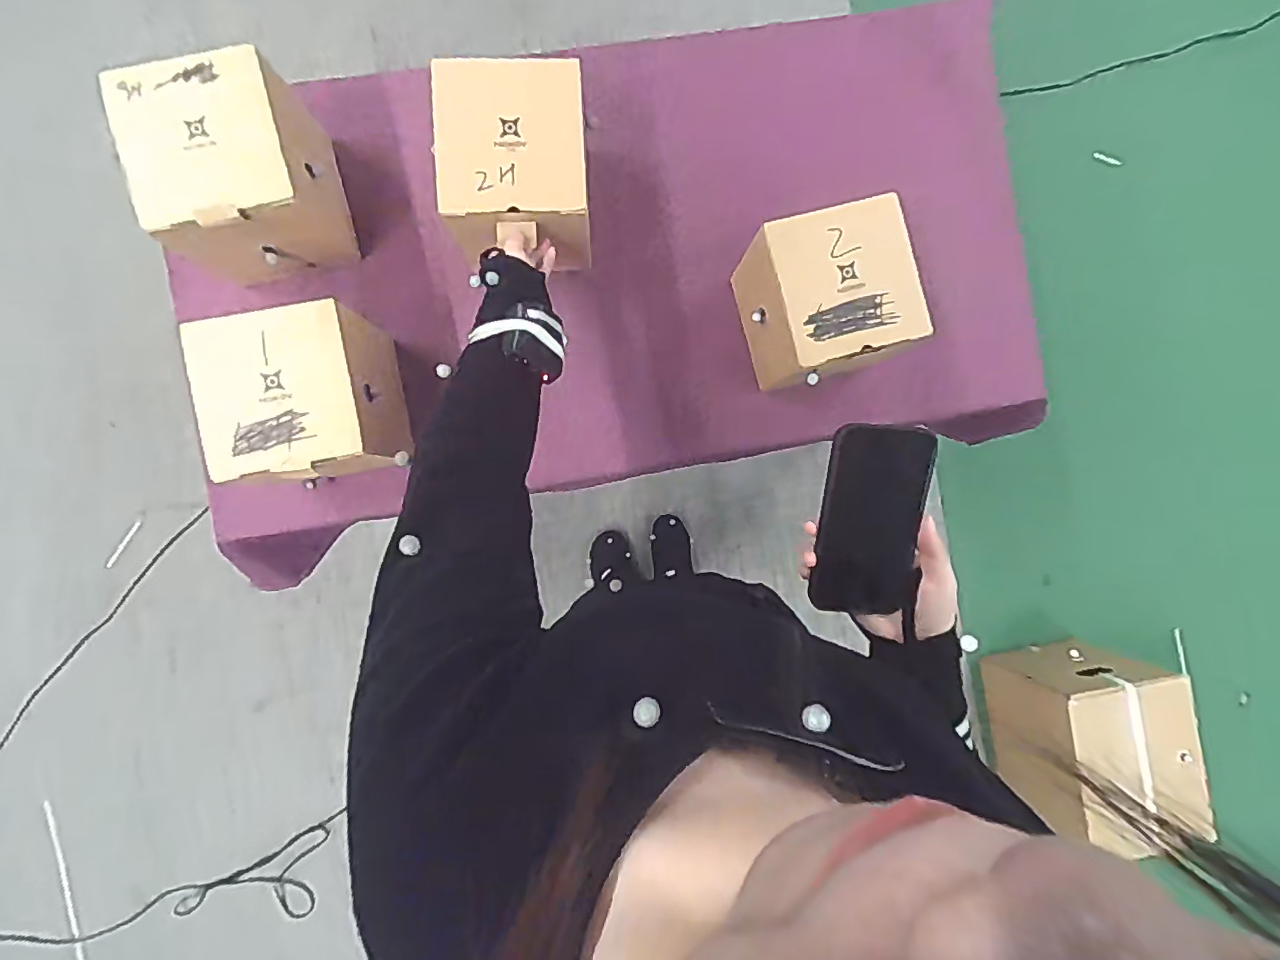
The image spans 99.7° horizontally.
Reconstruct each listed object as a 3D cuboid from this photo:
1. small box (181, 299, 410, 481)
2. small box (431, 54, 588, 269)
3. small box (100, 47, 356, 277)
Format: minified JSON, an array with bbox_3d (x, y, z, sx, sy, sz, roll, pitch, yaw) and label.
[{"bbox_3d":[-0.403,-0.098,0.665,0.168,0.176,0.179,-11,89,-4],"label":"small box"},{"bbox_3d":[-0.153,-0.386,0.681,0.168,0.176,0.179,-2,90,-3],"label":"small box"},{"bbox_3d":[-0.479,-0.367,0.661,0.168,0.176,0.179,-14,92,-4],"label":"small box"}]
